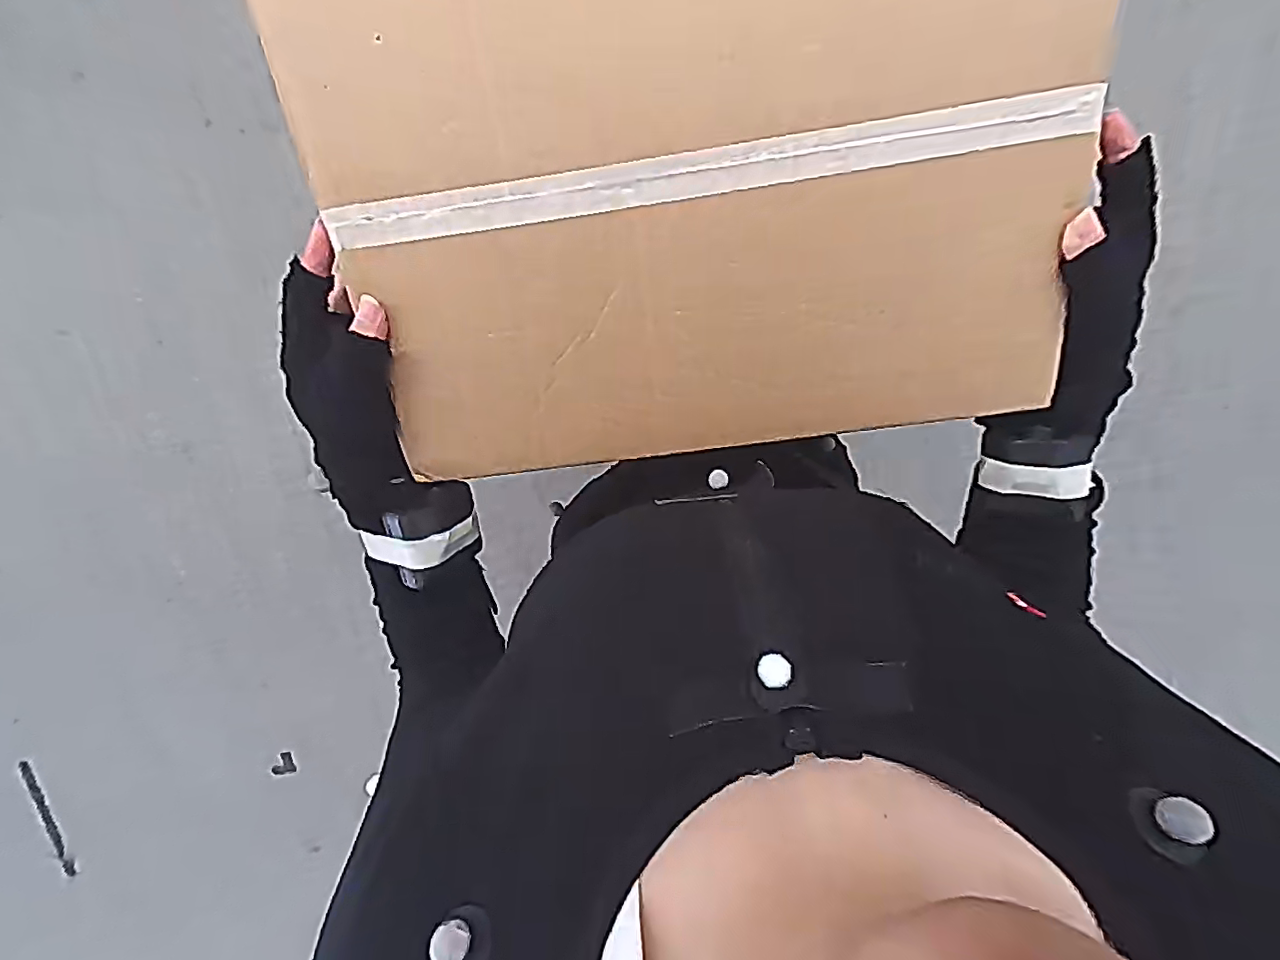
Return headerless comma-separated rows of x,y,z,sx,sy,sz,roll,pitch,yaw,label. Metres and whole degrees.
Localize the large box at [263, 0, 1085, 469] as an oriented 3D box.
0.027,-0.233,0.429,0.408,0.320,0.320,-7,114,3,large box
